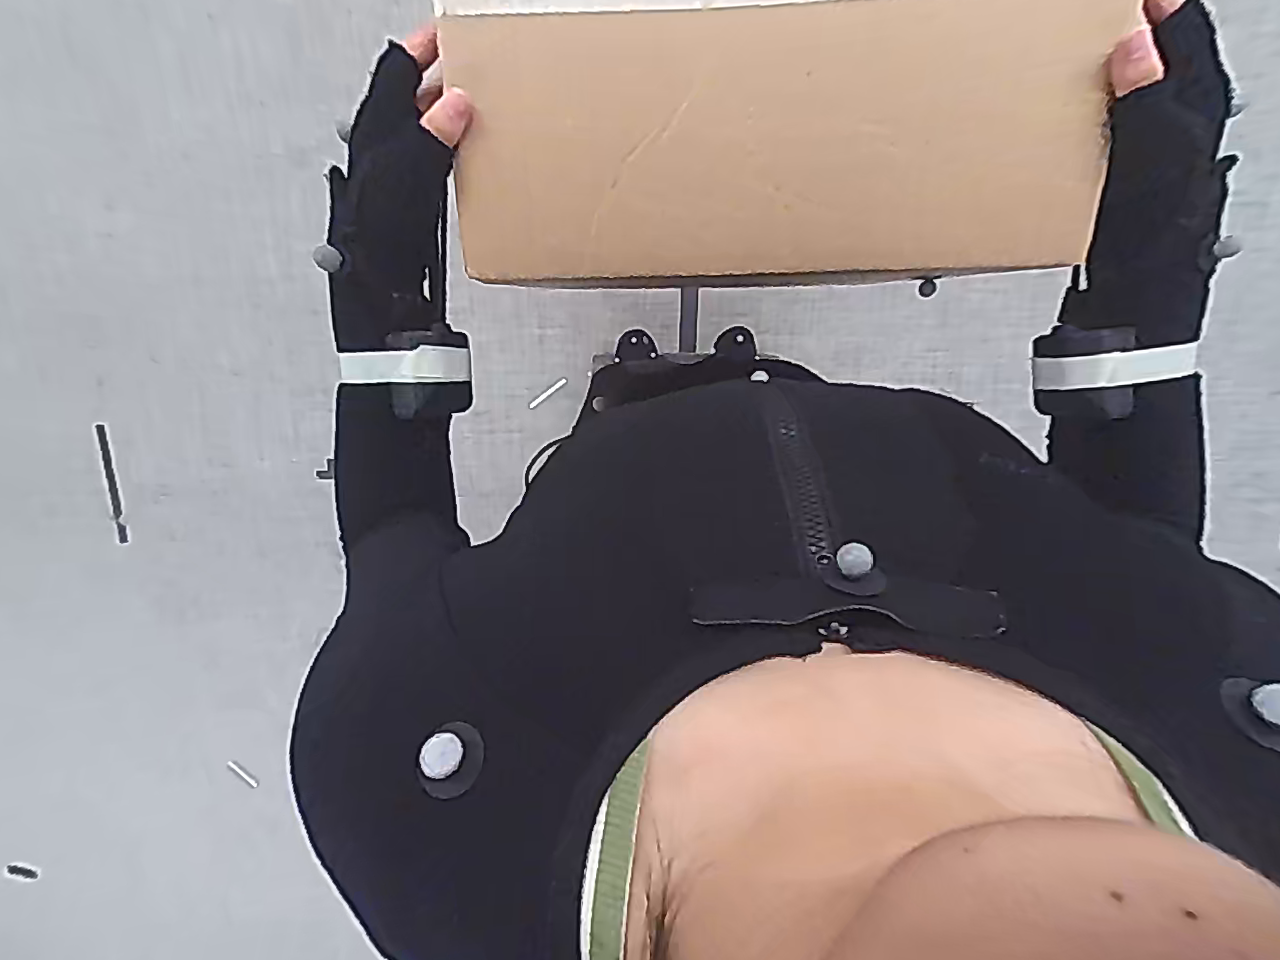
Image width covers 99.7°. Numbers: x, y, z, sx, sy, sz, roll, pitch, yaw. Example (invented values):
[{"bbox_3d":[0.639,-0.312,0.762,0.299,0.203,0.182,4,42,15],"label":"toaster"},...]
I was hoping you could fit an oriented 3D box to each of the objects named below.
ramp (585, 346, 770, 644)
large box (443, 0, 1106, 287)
[{"bbox_3d":[0.100,0.102,1.625,0.509,0.206,0.991,-1,105,1],"label":"ramp"},{"bbox_3d":[0.082,-0.335,0.461,0.408,0.320,0.320,-1,108,1],"label":"large box"}]
